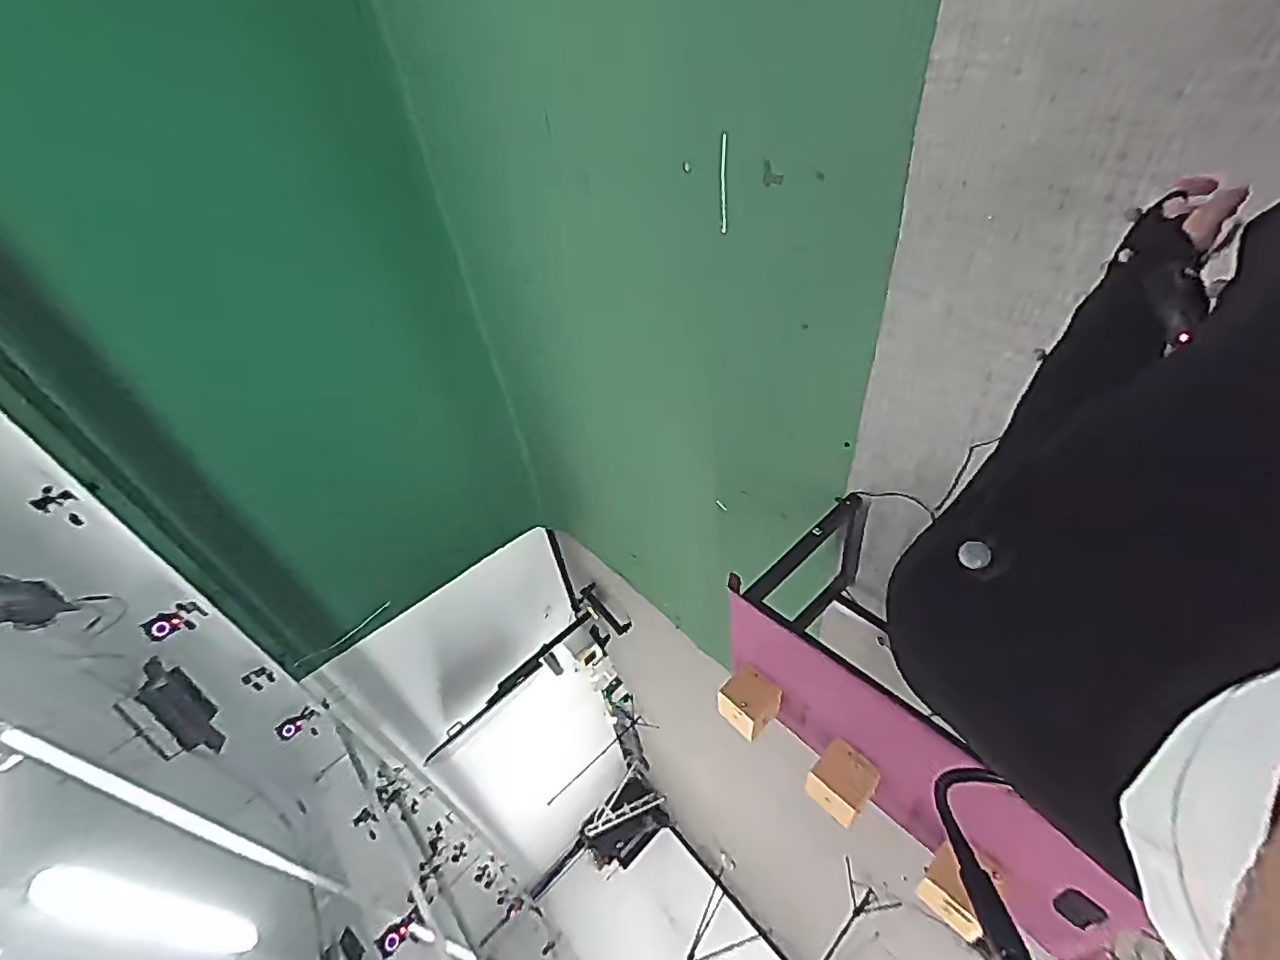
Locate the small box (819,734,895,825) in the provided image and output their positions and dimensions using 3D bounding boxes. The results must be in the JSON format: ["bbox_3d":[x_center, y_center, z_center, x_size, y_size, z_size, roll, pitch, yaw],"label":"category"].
[{"bbox_3d":[0.717,0.989,1.790,0.168,0.176,0.179,33,146,38],"label":"small box"}]

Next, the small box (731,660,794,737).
[{"bbox_3d":[0.459,0.818,2.029,0.168,0.176,0.179,33,147,37],"label":"small box"}]

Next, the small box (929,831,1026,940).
[{"bbox_3d":[0.966,1.154,1.548,0.168,0.176,0.179,33,147,39],"label":"small box"}]
